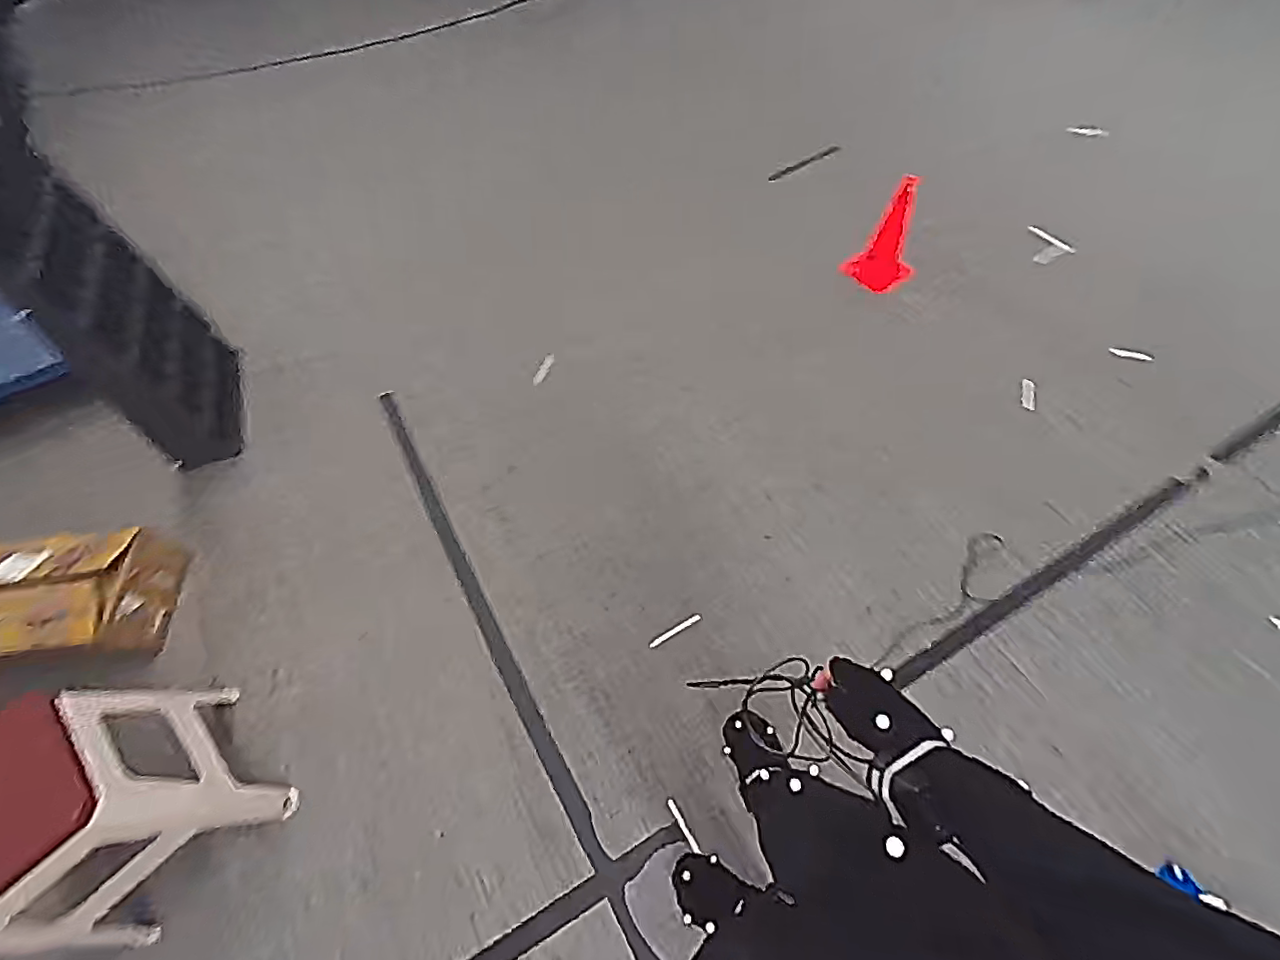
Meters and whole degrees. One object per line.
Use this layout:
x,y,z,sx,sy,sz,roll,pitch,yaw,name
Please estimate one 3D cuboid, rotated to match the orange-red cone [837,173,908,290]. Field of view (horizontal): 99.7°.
0.854,-0.882,1.878,0.199,0.360,0.198,-34,63,-12,orange-red cone
